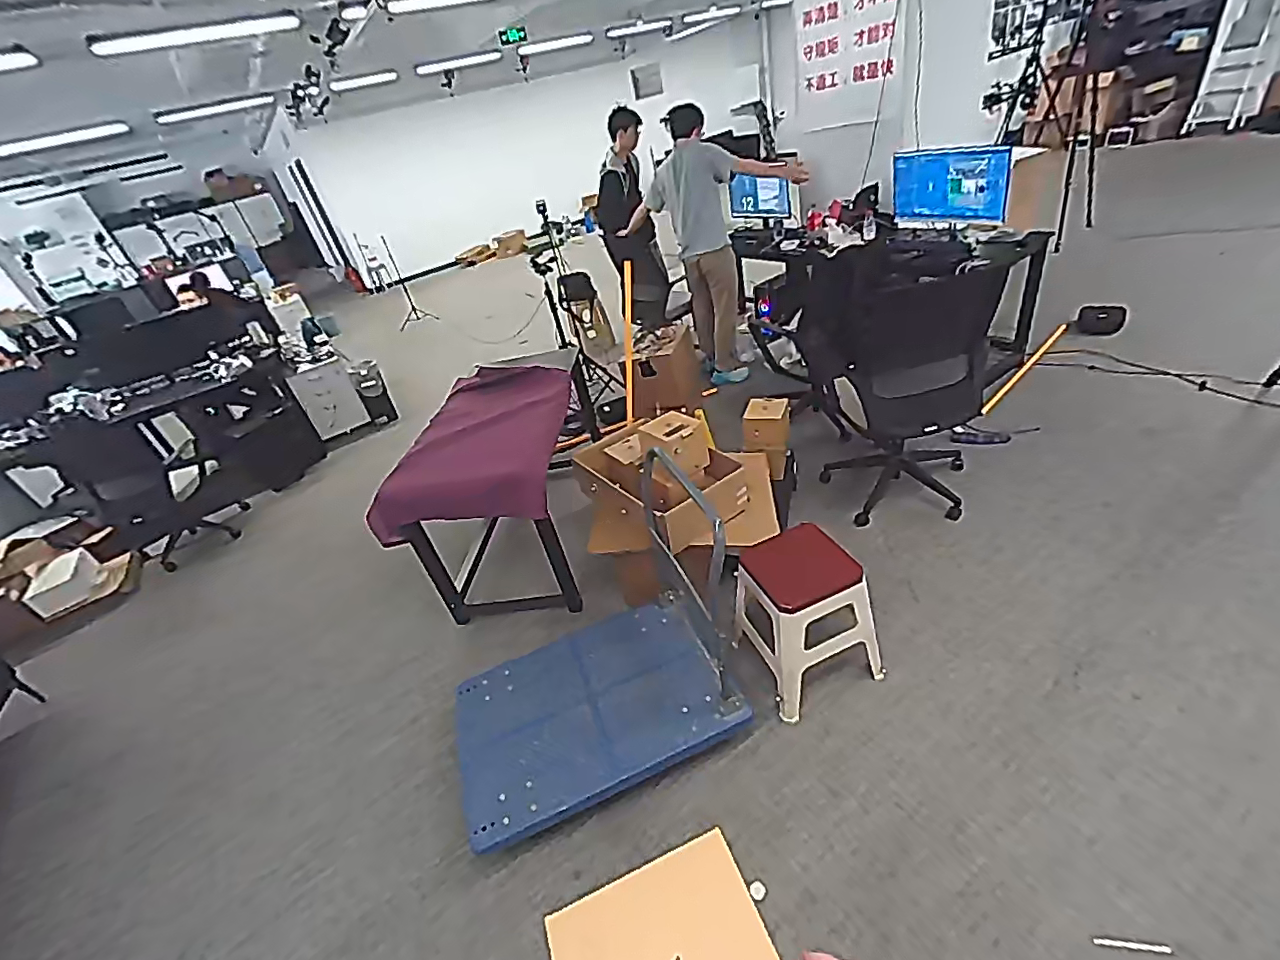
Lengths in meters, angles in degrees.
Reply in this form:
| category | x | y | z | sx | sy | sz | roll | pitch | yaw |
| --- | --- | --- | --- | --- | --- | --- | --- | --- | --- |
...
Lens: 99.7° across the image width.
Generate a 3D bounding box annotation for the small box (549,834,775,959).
| category | x | y | z | sx | sy | sz | roll | pitch | yaw |
| --- | --- | --- | --- | --- | --- | --- | --- | --- | --- |
| small box | 0.037 | 0.452 | 0.456 | 0.168 | 0.176 | 0.179 | -20 | 39 | -10 |
